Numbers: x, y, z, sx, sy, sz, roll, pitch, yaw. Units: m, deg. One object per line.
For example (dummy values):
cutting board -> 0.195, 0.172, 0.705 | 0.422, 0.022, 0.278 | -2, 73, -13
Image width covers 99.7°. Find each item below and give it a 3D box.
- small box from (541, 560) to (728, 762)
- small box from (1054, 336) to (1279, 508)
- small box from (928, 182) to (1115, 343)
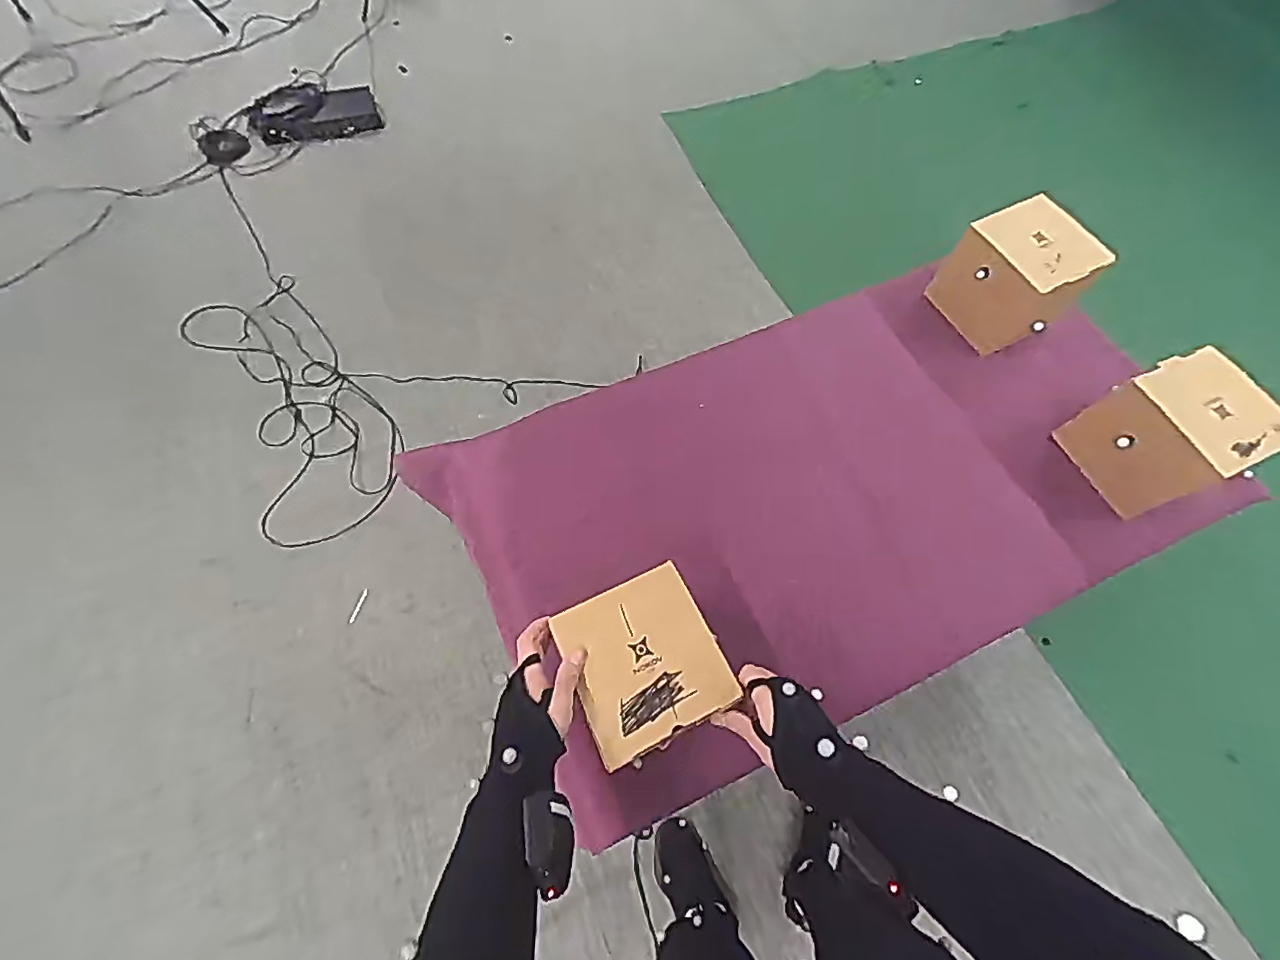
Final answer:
small box -> -0.007, 0.231, 0.691 | 0.168, 0.176, 0.179 | -24, 67, -11
small box -> 0.806, -0.083, 0.835 | 0.168, 0.176, 0.179 | -22, 69, -9
small box -> 0.658, -0.380, 0.962 | 0.168, 0.176, 0.179 | -25, 70, -8
